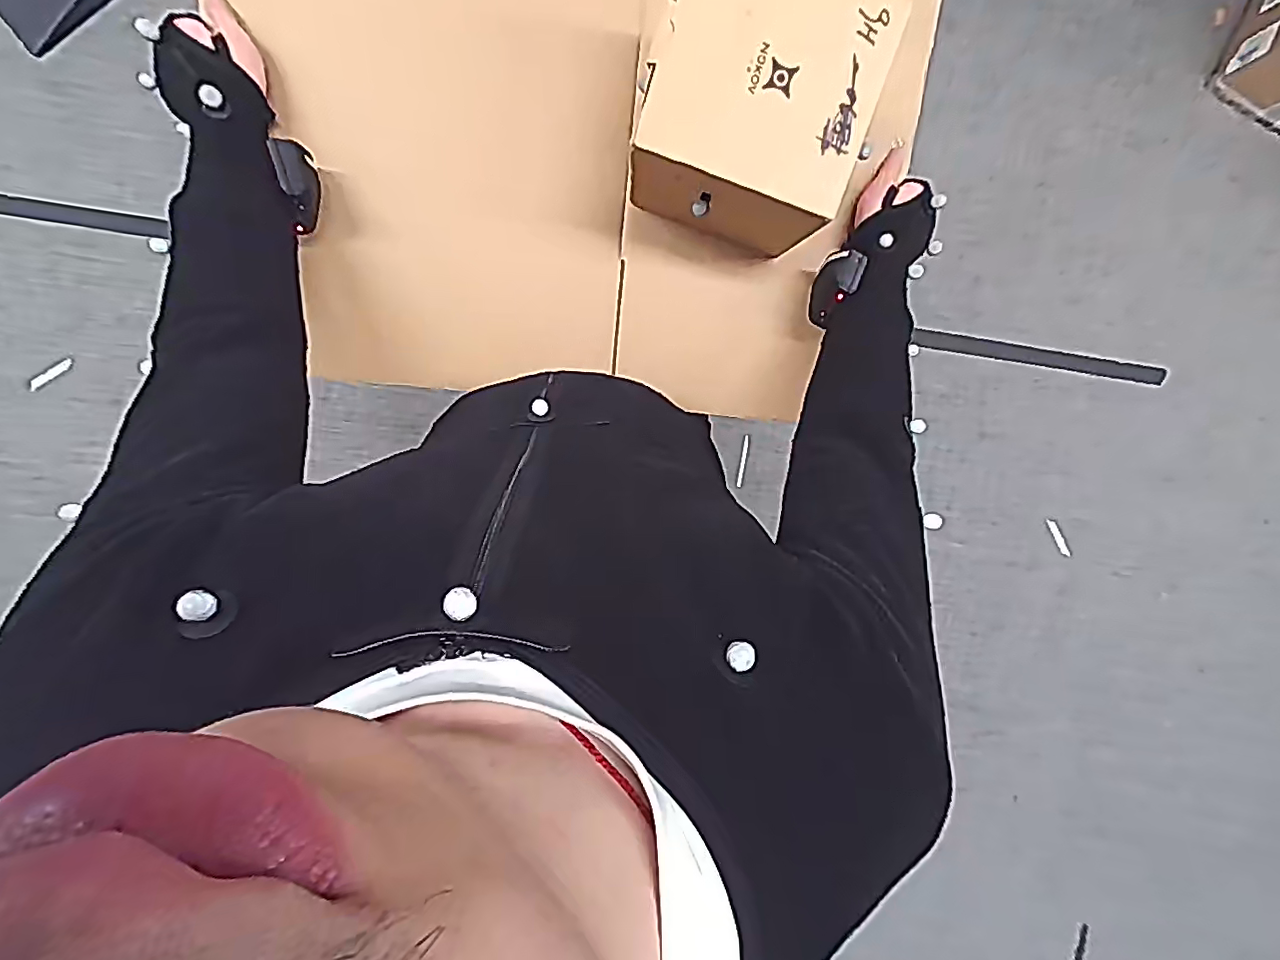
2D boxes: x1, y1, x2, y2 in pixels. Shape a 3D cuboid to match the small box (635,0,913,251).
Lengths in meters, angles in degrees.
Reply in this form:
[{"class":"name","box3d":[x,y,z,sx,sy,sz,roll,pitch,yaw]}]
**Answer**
[{"class":"small box","box3d":[0.102,-0.332,0.501,0.179,0.176,0.168,18,101,-4]}]
